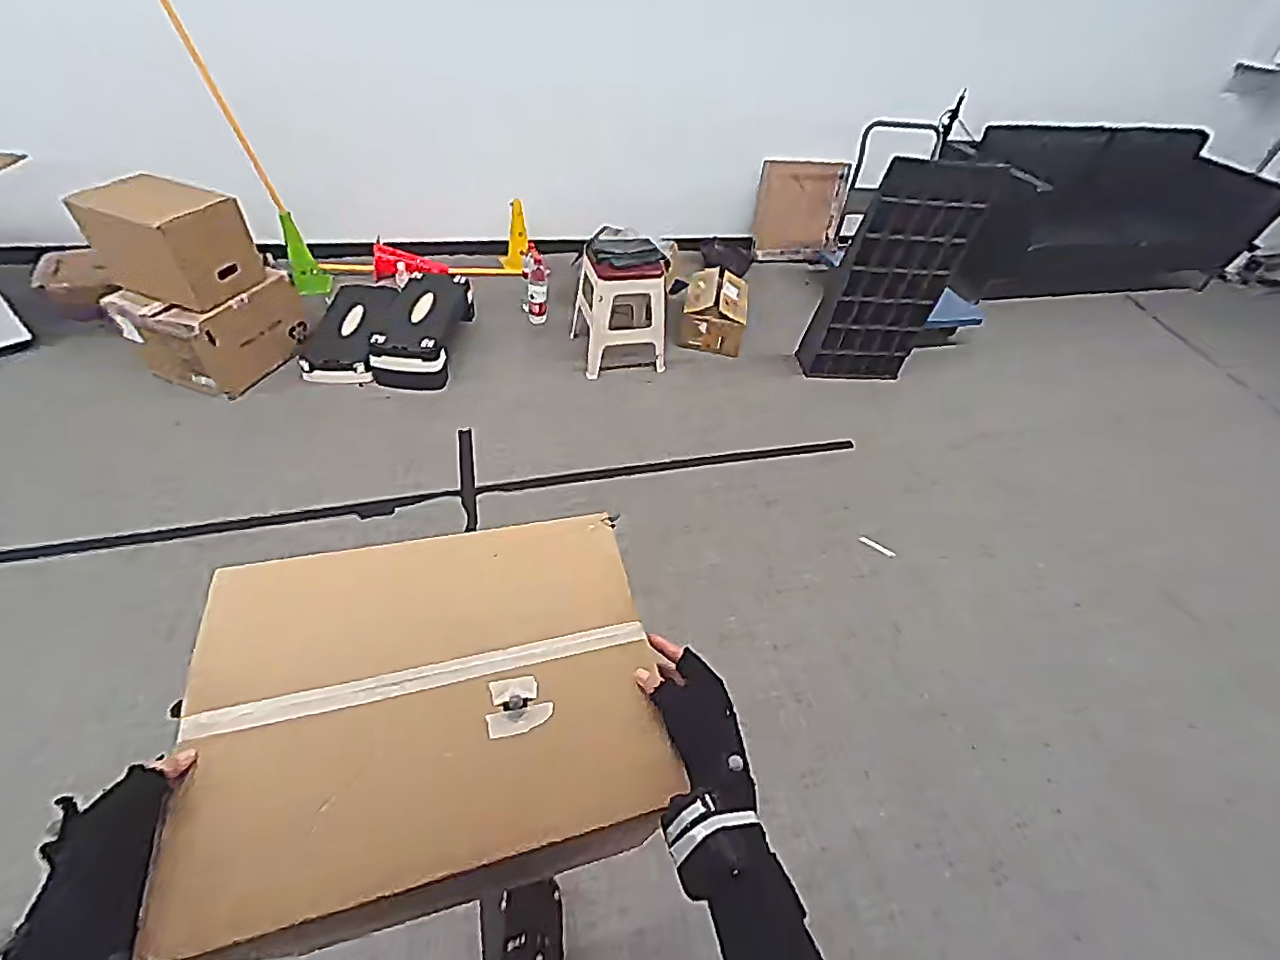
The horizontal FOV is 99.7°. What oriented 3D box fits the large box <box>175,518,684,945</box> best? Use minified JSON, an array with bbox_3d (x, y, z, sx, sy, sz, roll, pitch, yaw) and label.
[{"bbox_3d":[-0.210,0.283,0.638,0.408,0.320,0.320,-7,53,-17],"label":"large box"}]
